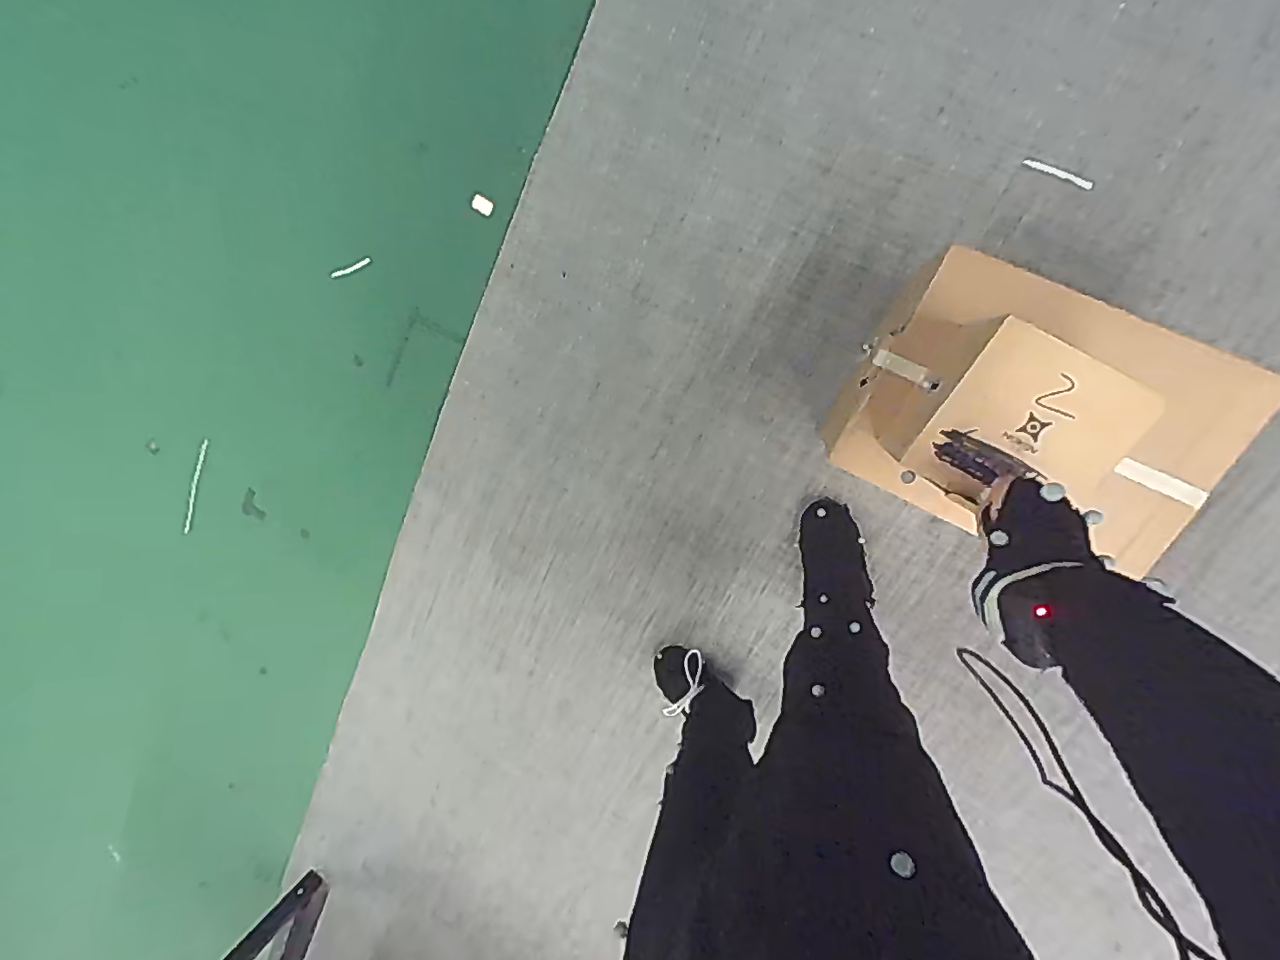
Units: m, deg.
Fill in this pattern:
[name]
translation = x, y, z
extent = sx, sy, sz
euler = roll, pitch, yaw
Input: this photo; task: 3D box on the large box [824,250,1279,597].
[large box]
translation = 0.543, -0.096, 0.820
extent = 0.408, 0.320, 0.320
euler = 28, 108, 9
